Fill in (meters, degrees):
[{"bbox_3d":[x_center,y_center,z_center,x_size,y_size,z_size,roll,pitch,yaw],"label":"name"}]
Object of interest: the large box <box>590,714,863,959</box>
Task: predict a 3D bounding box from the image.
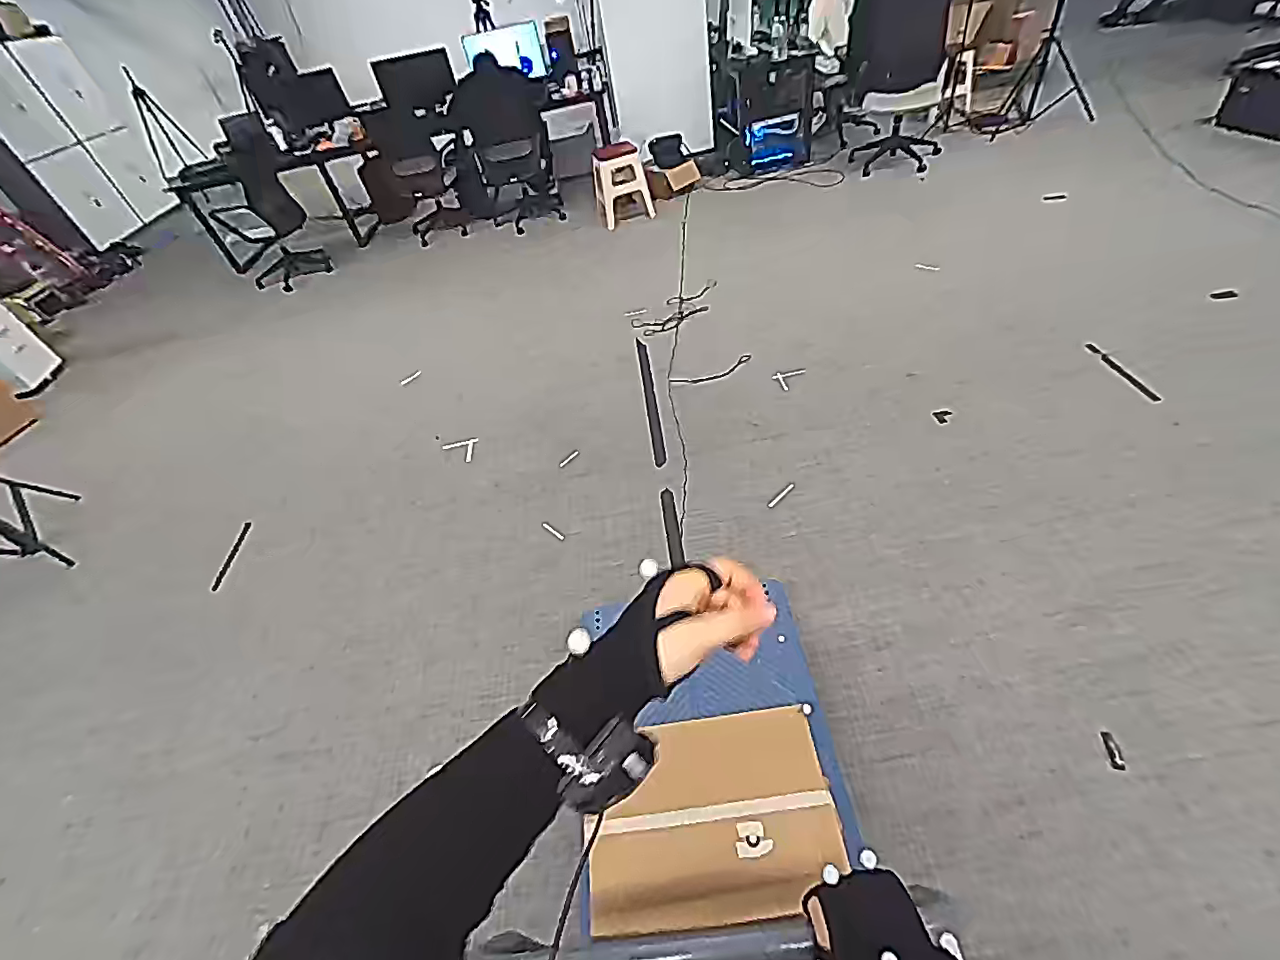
[{"bbox_3d":[0.136,0.672,0.987,0.408,0.320,0.320,-10,44,3],"label":"large box"}]
